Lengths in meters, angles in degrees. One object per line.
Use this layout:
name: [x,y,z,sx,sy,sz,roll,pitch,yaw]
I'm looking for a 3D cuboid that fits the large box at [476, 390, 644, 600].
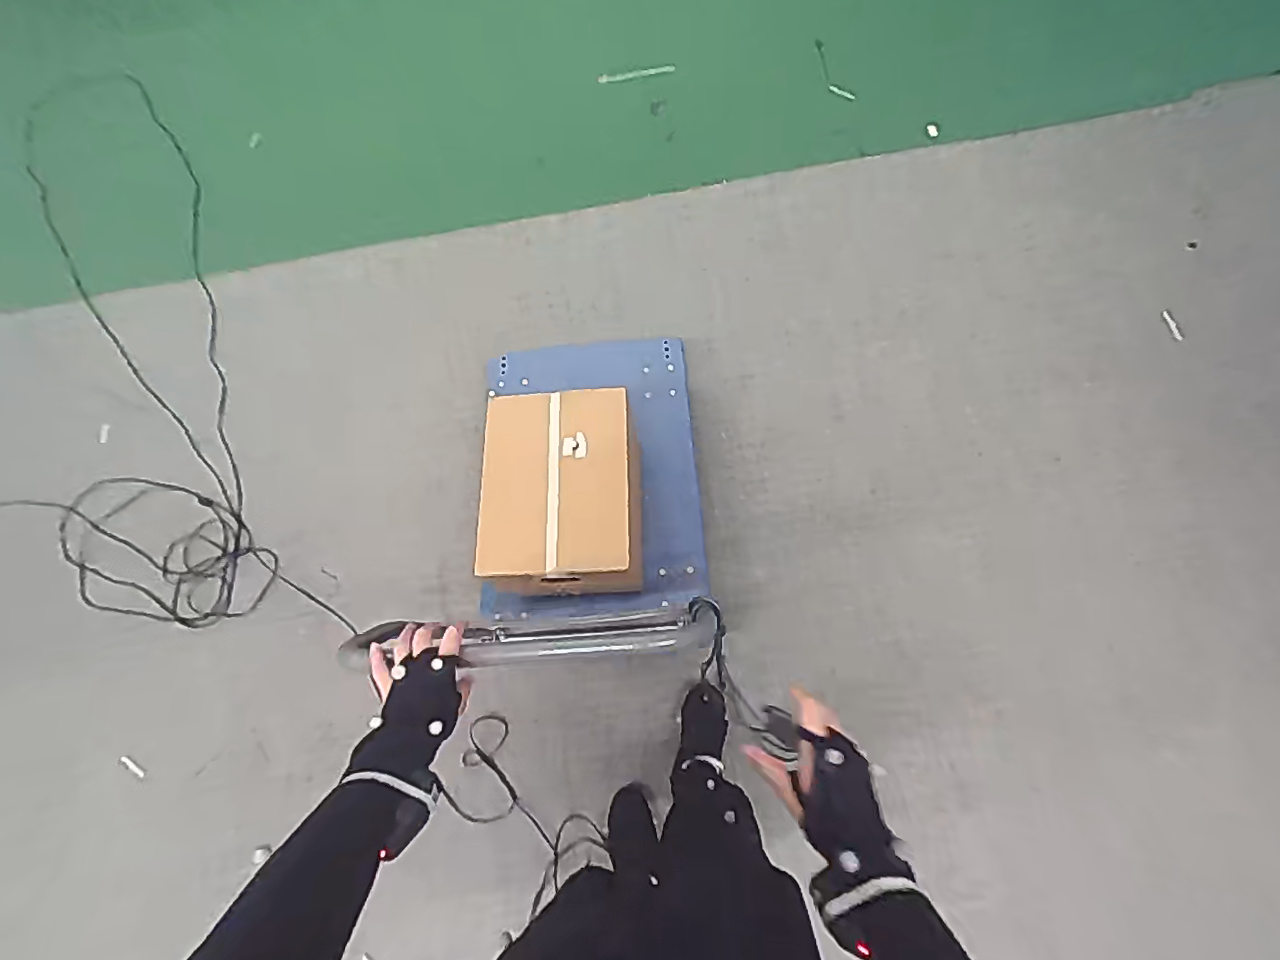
large box: [-0.163,0.051,1.255,0.320,0.320,0.408,-3,70,4]
